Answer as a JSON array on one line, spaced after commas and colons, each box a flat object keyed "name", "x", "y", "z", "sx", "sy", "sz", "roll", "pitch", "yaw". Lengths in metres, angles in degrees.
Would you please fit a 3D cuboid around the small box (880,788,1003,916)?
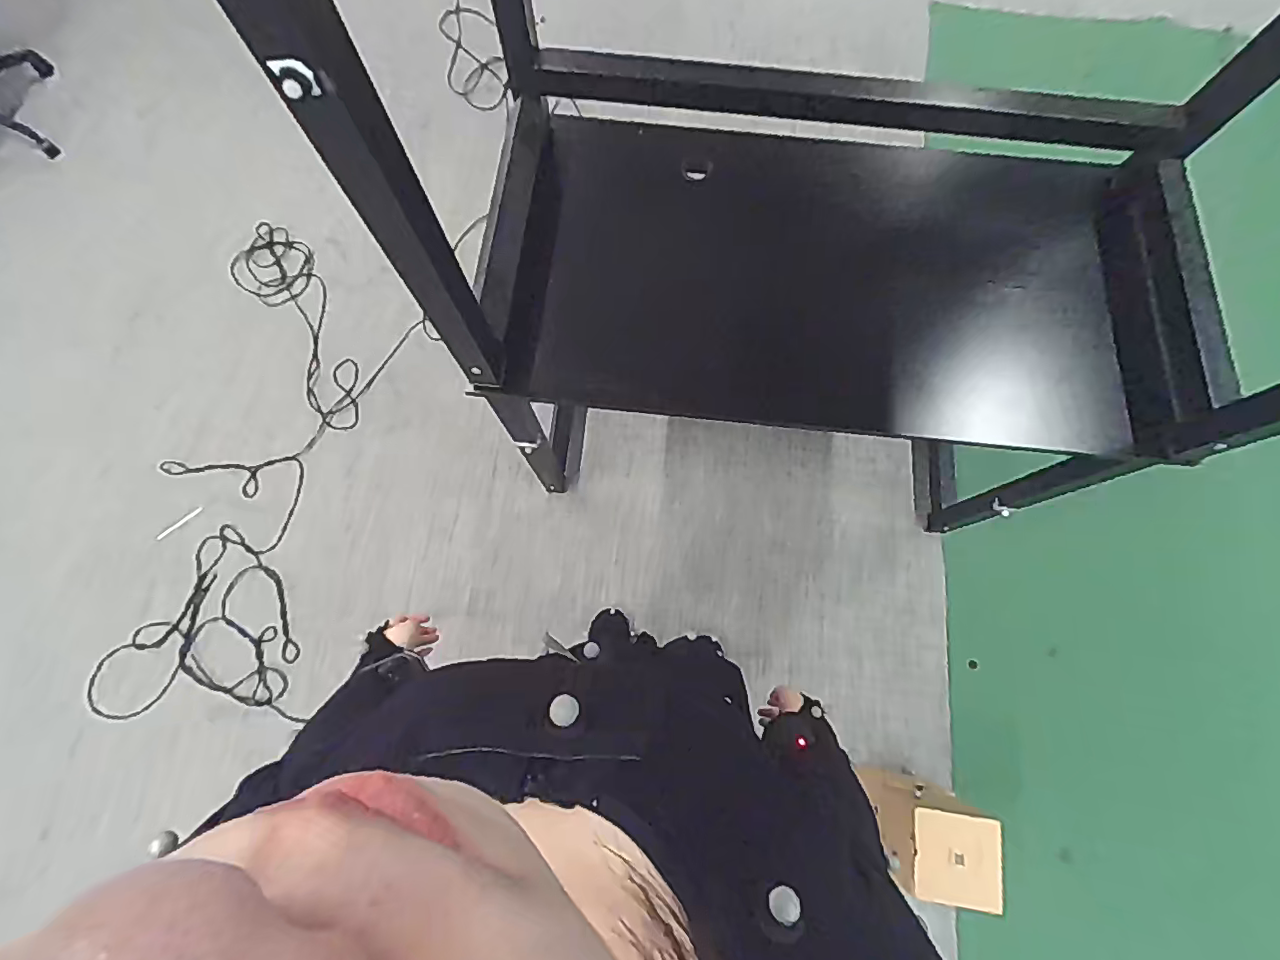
[{"name": "small box", "x": 0.627, "y": 0.773, "z": 1.144, "sx": 0.179, "sy": 0.176, "sz": 0.168, "roll": 8, "pitch": 76, "yaw": 2}]

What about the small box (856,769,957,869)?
[{"name": "small box", "x": 0.634, "y": 0.817, "z": 1.299, "sx": 0.168, "sy": 0.176, "sz": 0.179, "roll": 9, "pitch": 76, "yaw": 3}]
